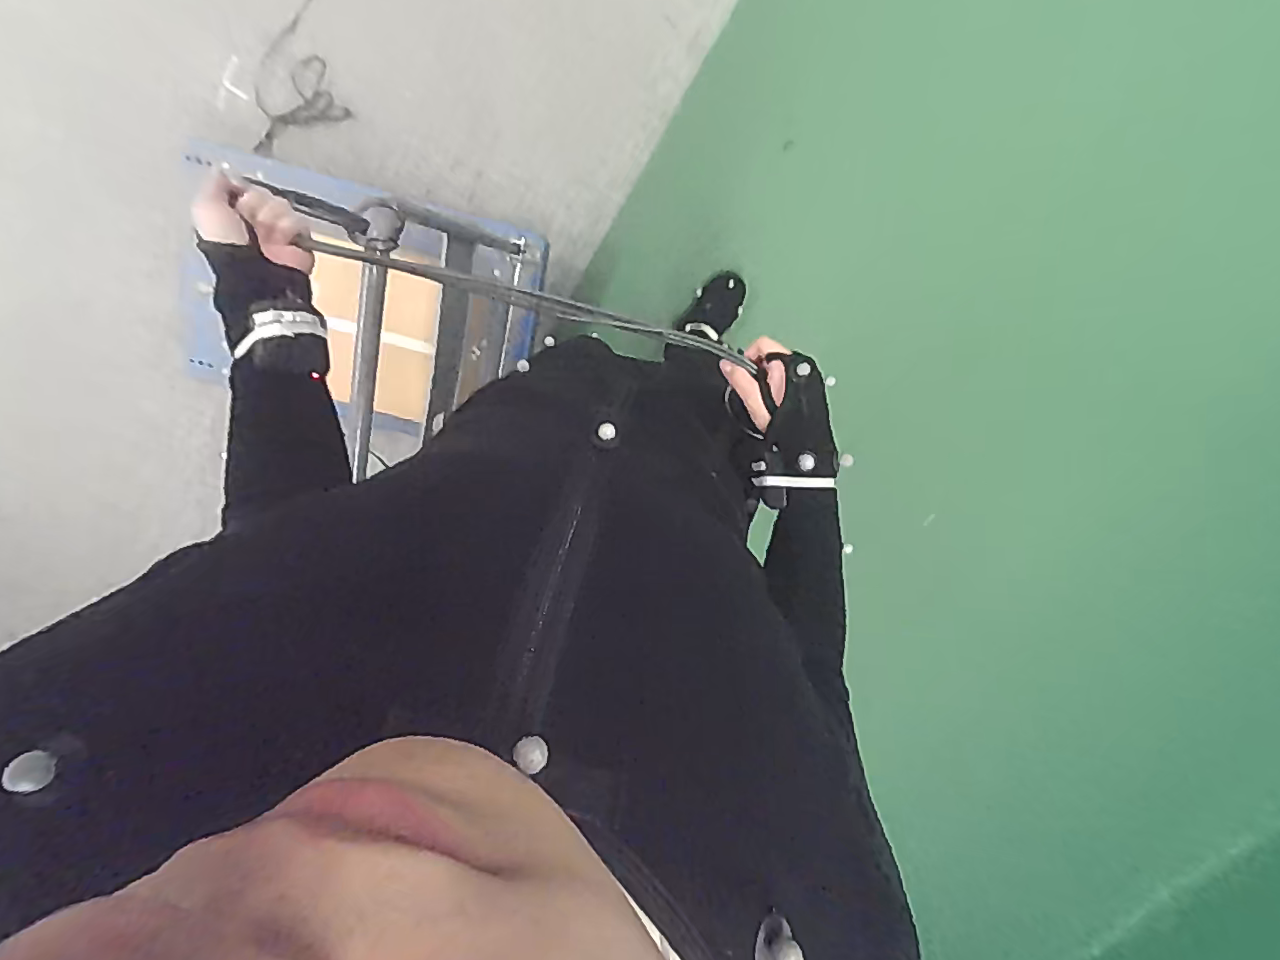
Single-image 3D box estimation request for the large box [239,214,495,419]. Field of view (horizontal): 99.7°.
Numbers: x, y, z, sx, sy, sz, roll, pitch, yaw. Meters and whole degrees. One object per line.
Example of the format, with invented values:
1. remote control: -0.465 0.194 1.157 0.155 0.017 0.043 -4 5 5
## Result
1. large box: -0.576 -0.358 1.199 0.408 0.320 0.320 15 108 -1
